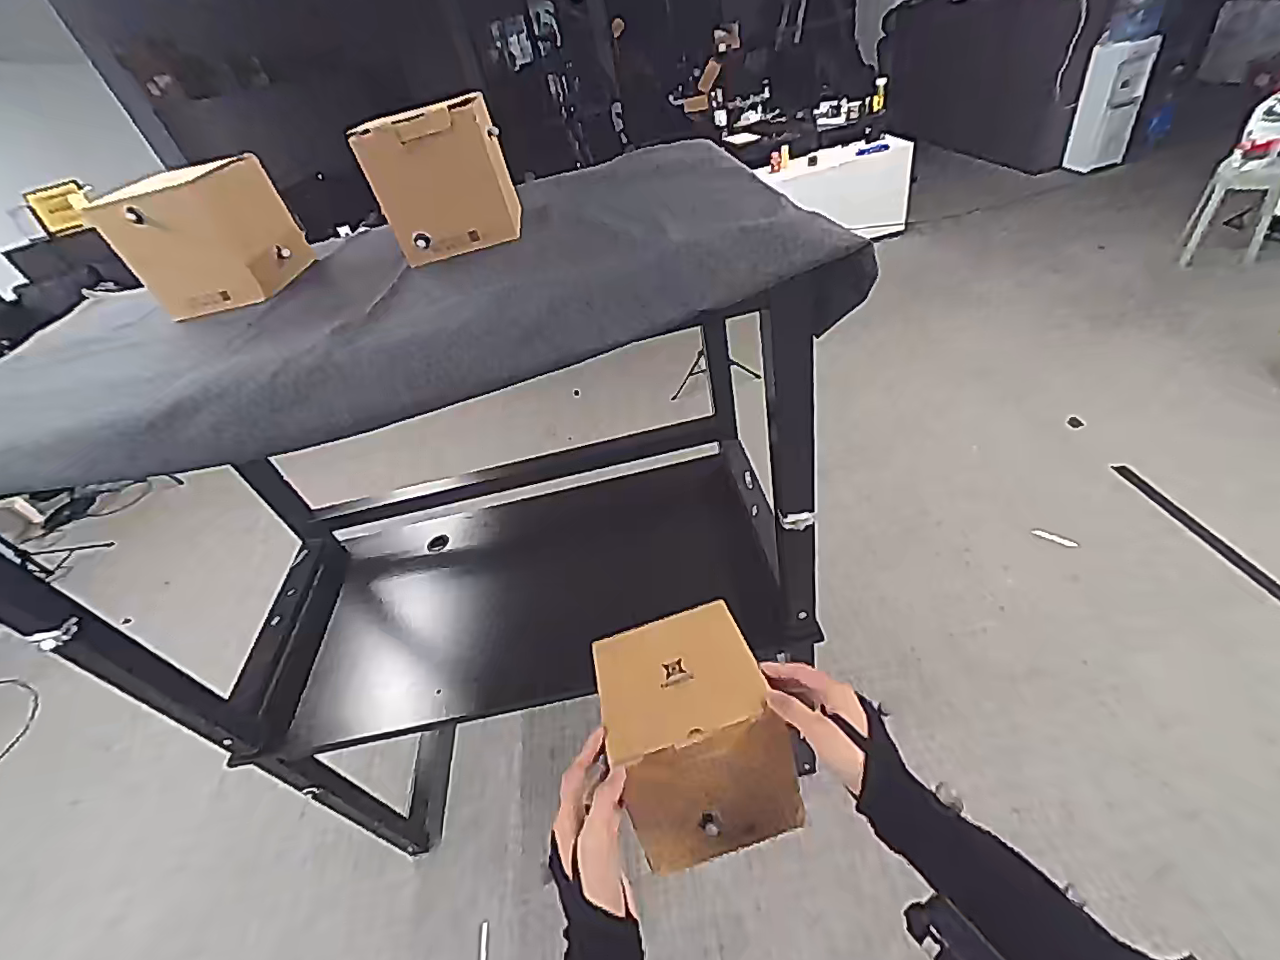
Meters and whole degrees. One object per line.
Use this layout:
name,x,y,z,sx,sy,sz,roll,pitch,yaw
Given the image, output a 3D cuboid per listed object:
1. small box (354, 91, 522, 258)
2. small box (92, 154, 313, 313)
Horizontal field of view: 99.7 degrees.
small box,-0.280,-0.445,0.796,0.168,0.176,0.179,-14,40,1
small box,-0.650,-0.379,0.836,0.168,0.176,0.179,-10,41,6
